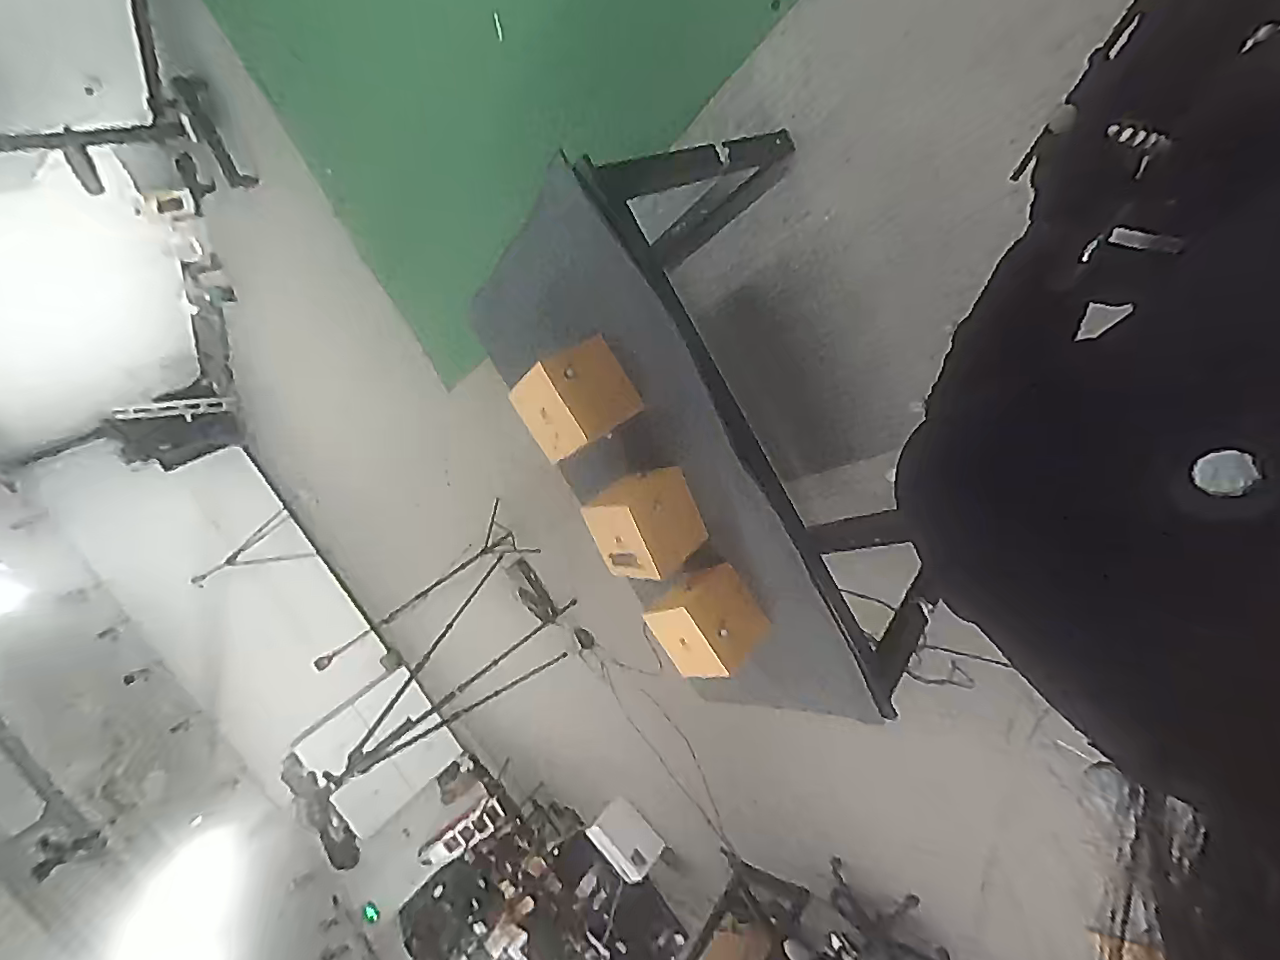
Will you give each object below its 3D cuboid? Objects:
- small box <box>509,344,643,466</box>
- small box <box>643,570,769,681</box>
[{"bbox_3d":[-0.128,-0.159,1.106,0.168,0.176,0.179,-24,100,52],"label":"small box"},{"bbox_3d":[0.146,0.314,1.186,0.179,0.176,0.168,56,142,-3],"label":"small box"}]
